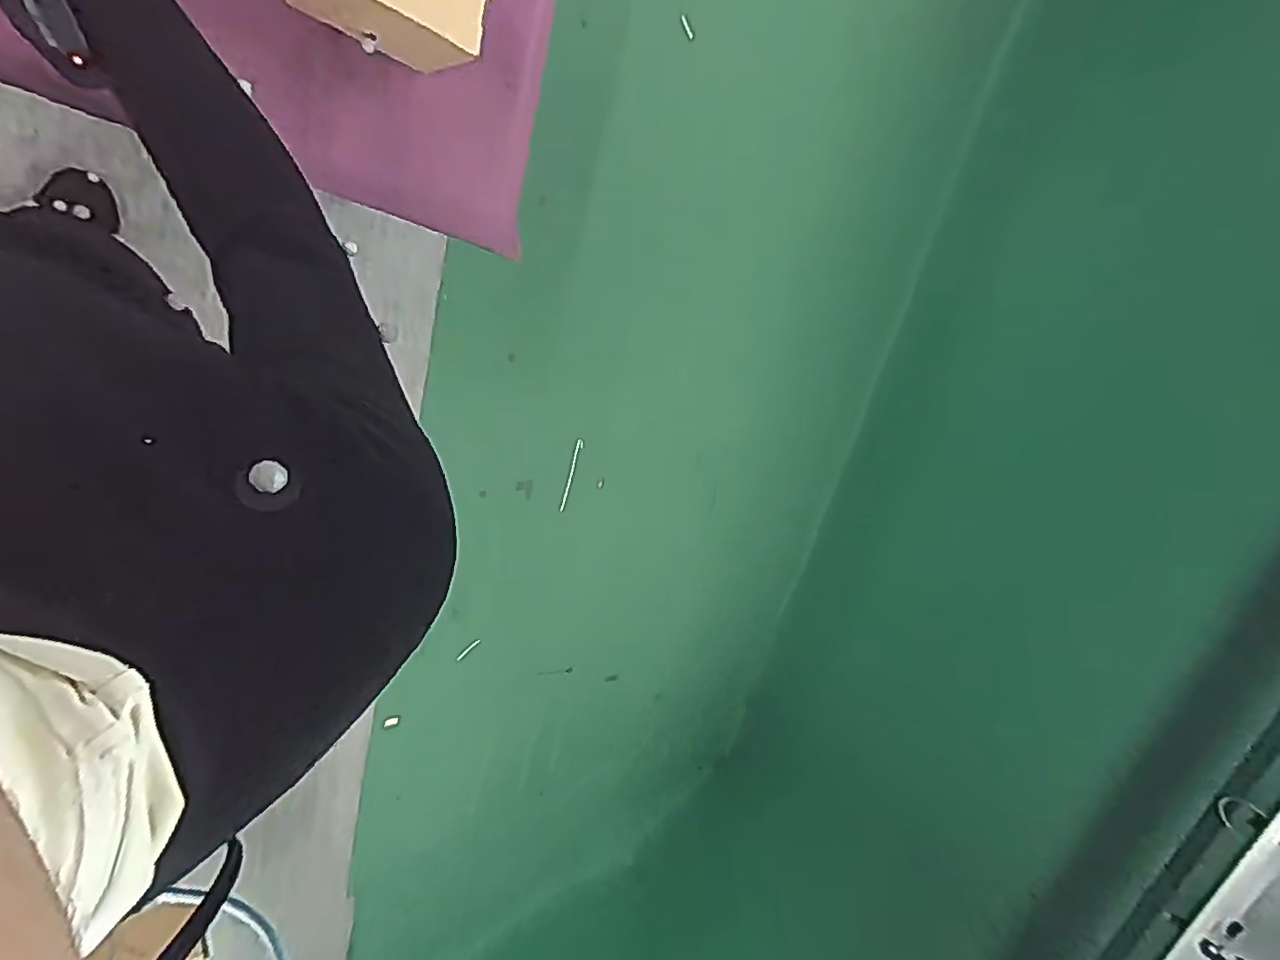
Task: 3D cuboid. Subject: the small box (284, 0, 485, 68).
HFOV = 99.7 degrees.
[{"bbox_3d":[-0.291,-0.608,0.620,0.179,0.176,0.168,-2,113,-45],"label":"small box"}]
